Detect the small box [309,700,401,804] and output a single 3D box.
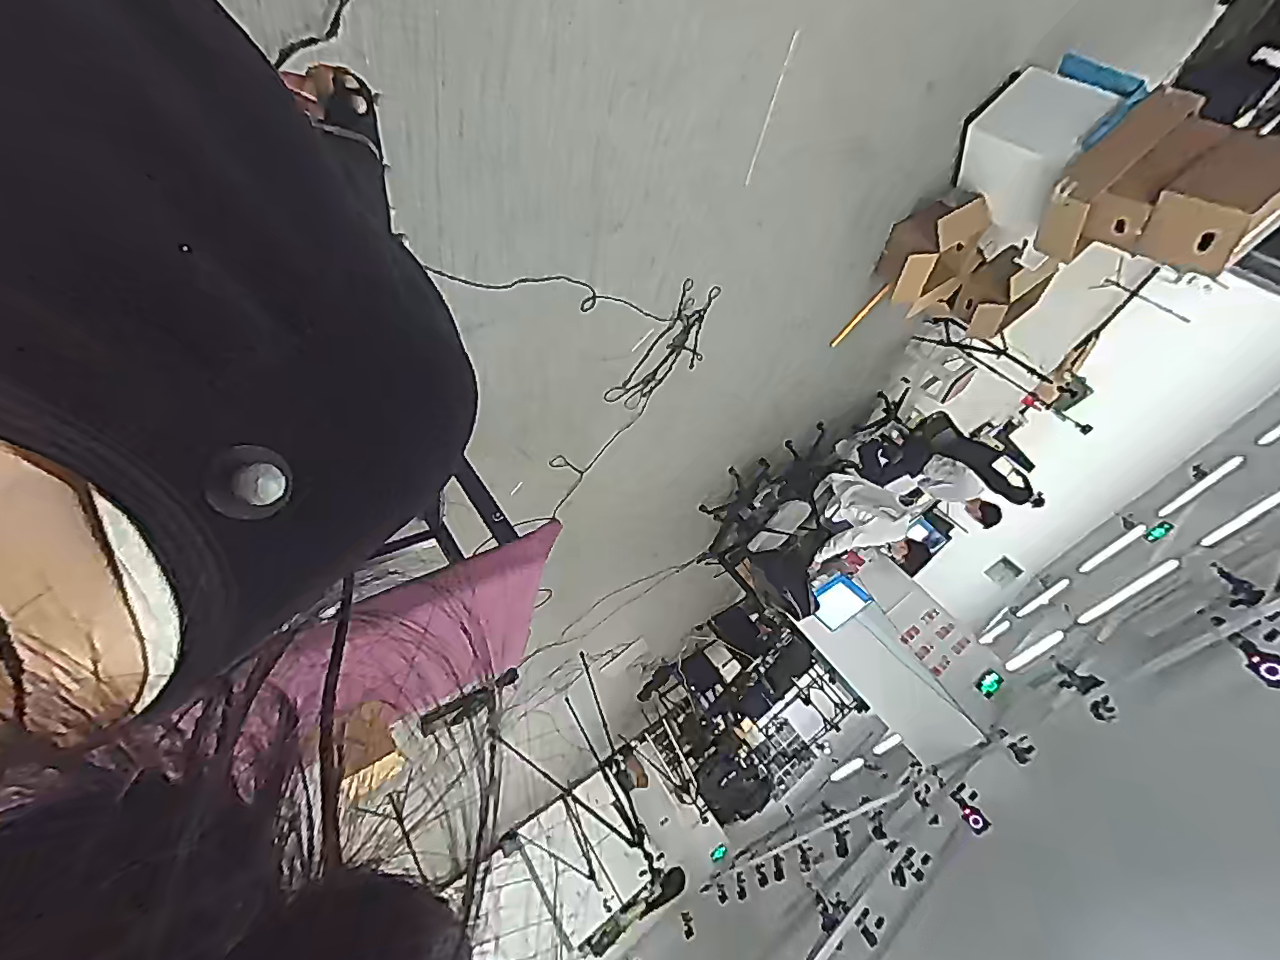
[{"bbox_3d":[-0.792,0.751,1.509,0.179,0.176,0.168,-22,145,-35],"label":"small box"}]
